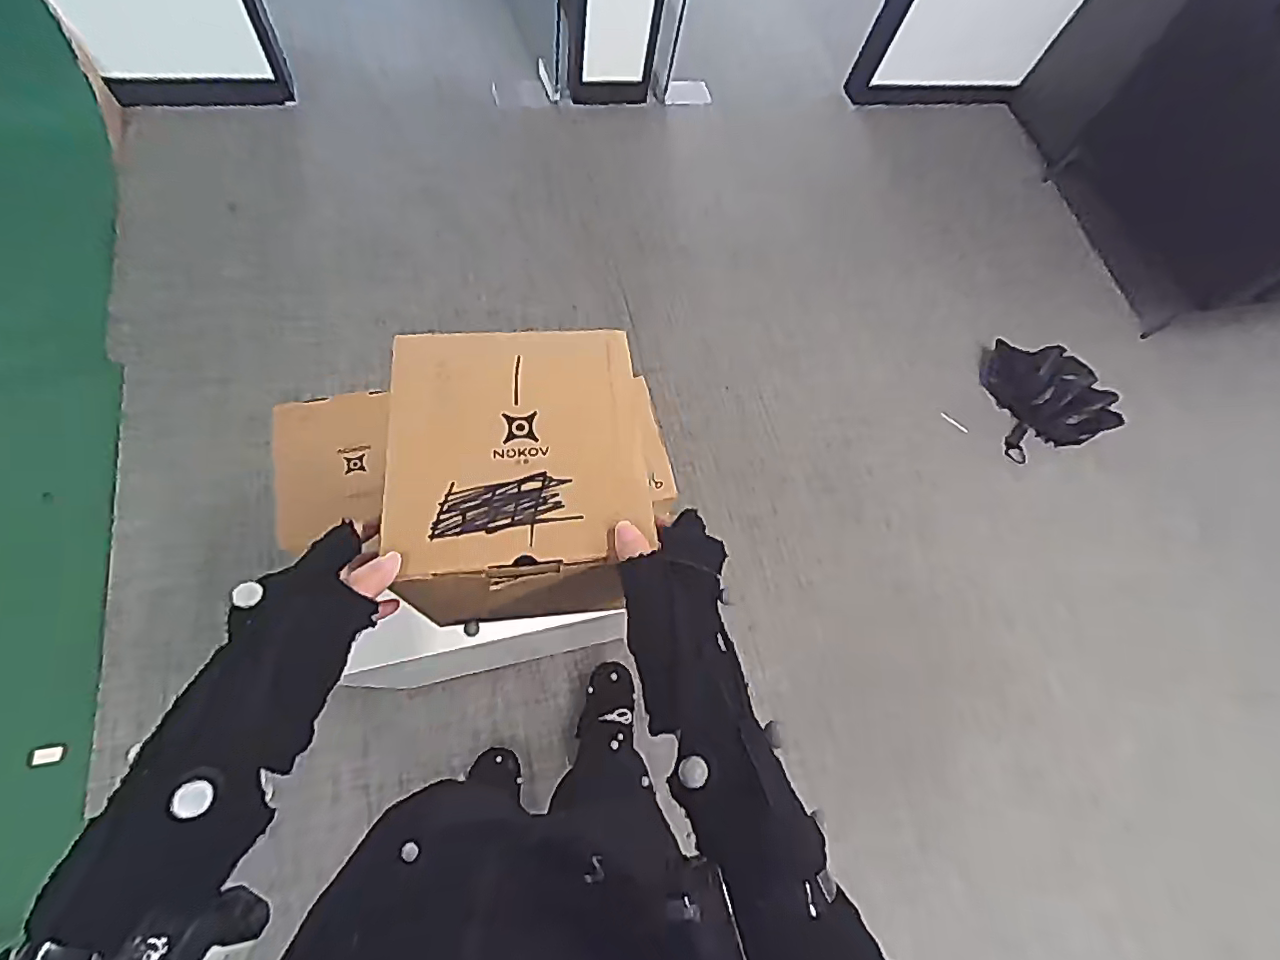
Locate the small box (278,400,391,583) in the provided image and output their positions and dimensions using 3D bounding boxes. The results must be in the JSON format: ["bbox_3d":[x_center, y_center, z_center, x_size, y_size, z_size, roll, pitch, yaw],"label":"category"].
[{"bbox_3d":[-0.334,0.017,0.694,0.168,0.176,0.179,-12,72,-14],"label":"small box"}]

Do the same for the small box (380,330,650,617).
[{"bbox_3d":[-0.090,0.006,0.432,0.168,0.176,0.179,-4,65,-9],"label":"small box"}]

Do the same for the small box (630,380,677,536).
[{"bbox_3d":[-0.063,-0.011,0.748,0.168,0.176,0.179,-11,70,-13],"label":"small box"}]
